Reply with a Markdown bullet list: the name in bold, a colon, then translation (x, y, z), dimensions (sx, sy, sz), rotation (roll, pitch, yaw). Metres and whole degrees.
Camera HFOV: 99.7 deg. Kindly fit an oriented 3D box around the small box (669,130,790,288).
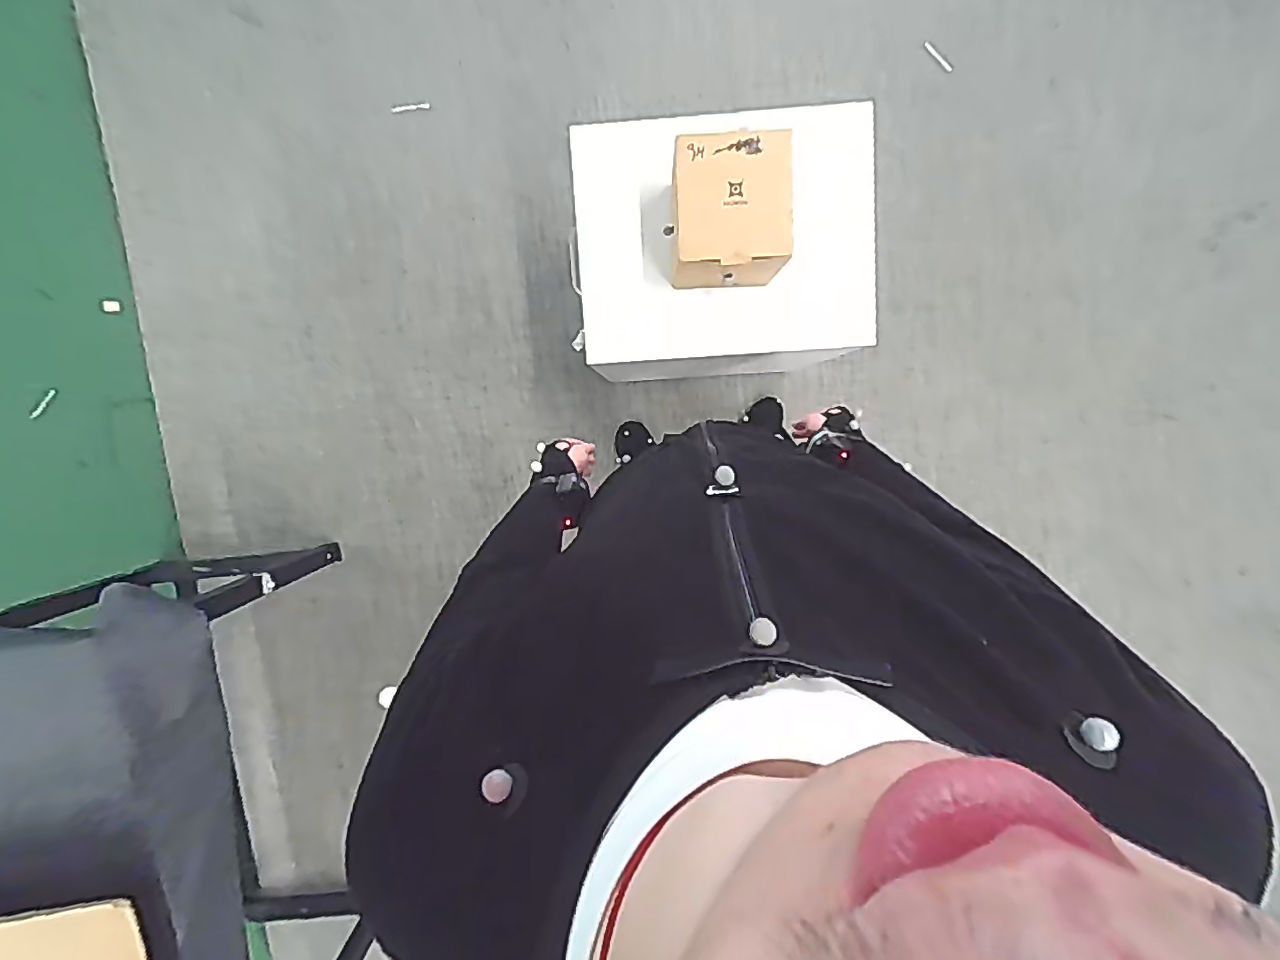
- **small box**: translation (0.133, -0.408, 0.846), dimensions (0.168, 0.176, 0.179), rotation (-4, 96, 2)
